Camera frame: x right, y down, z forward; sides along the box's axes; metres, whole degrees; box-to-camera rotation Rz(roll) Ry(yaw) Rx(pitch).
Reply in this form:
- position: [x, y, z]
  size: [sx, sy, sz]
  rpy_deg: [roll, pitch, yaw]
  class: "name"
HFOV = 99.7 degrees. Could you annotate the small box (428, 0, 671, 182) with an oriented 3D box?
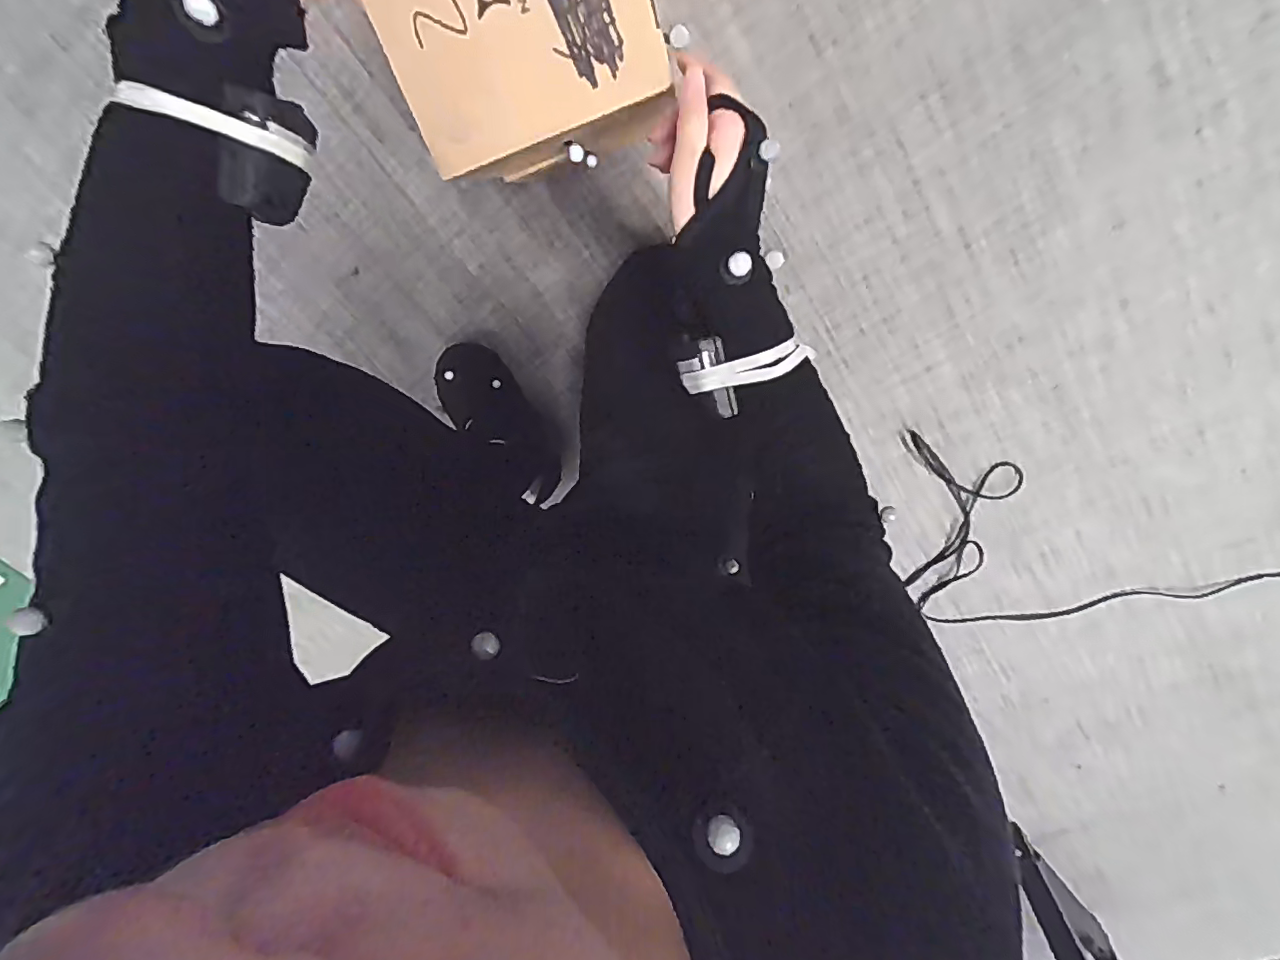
- position: [-0.073, -0.418, 0.545]
  size: [0.179, 0.176, 0.168]
  rpy_deg: [-15, 118, 12]
  class: "small box"
